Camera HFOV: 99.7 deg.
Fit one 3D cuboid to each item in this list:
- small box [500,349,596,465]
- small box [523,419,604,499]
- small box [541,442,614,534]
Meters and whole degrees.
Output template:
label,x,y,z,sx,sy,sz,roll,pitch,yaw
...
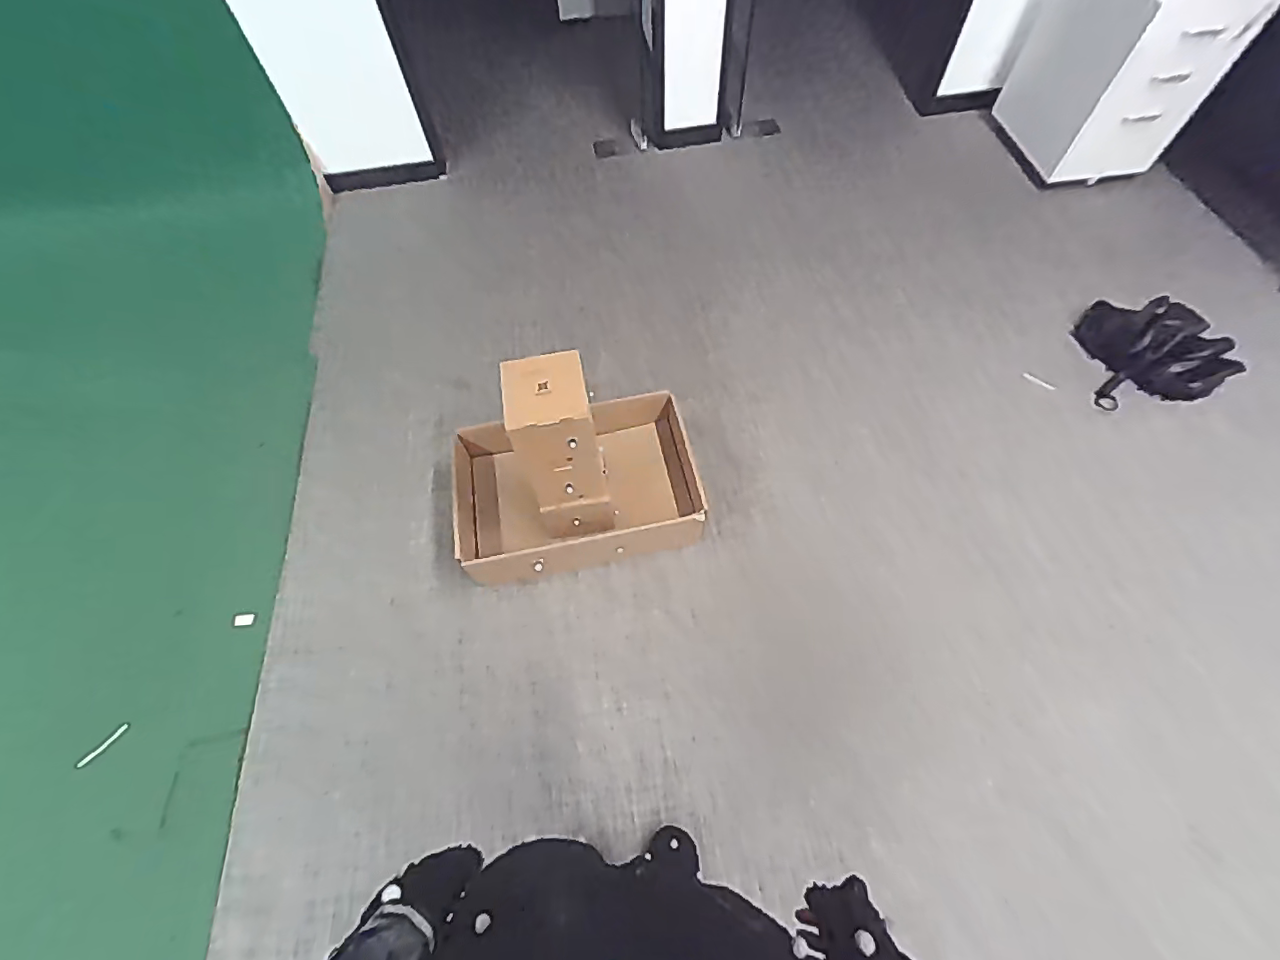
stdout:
label,x,y,z,sx,sy,sz,roll,pitch,yaw
small box,-0.191,-0.146,1.145,0.168,0.176,0.179,-10,60,-4
small box,-0.184,-0.068,1.288,0.168,0.176,0.179,-11,61,-4
small box,-0.167,0.025,1.421,0.179,0.176,0.168,-11,61,-4
